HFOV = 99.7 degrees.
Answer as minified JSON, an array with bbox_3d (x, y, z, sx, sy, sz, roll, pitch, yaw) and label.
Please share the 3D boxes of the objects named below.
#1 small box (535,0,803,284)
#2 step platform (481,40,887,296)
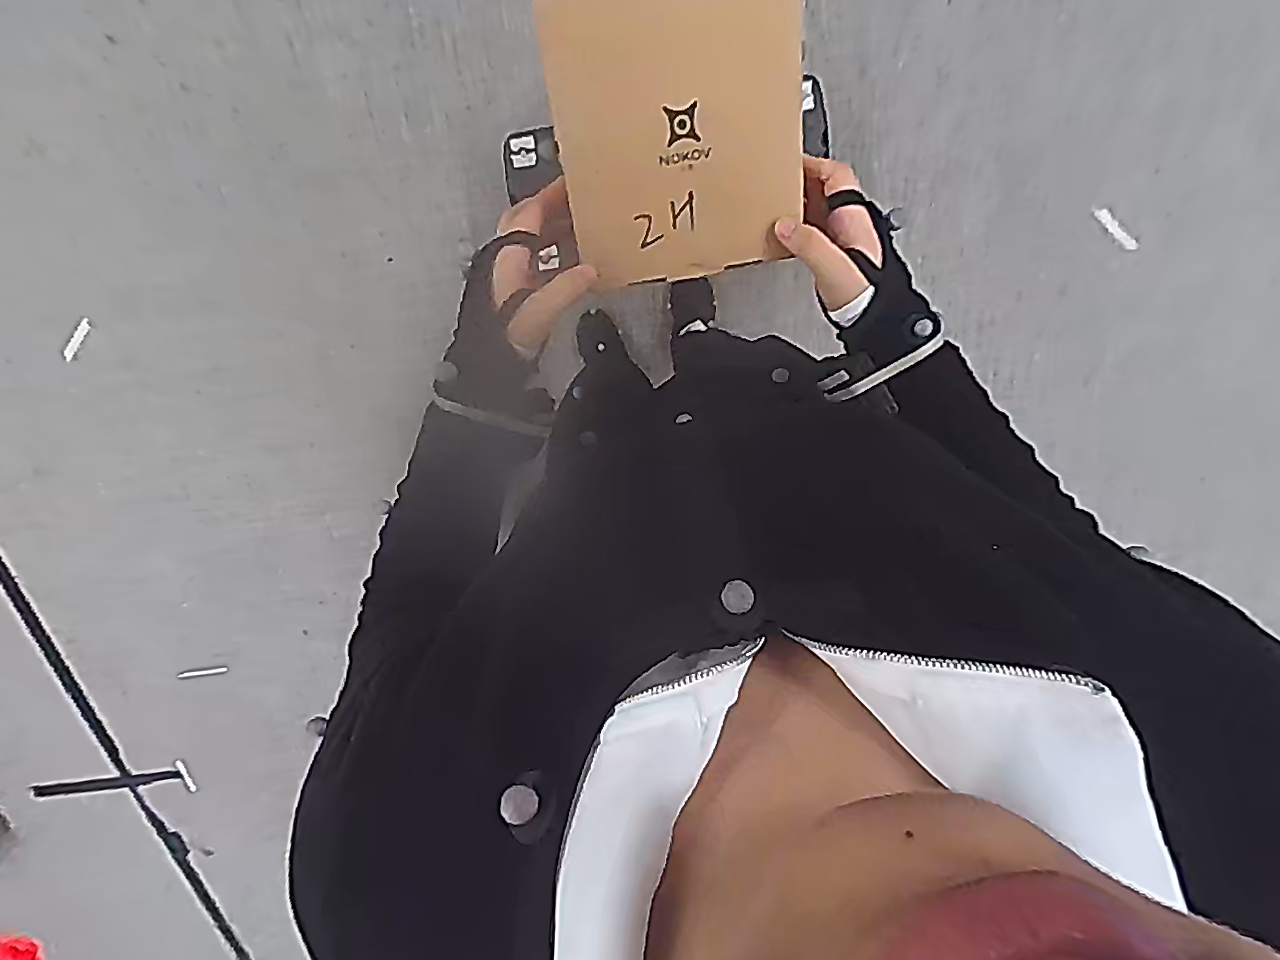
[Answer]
[{"bbox_3d":[0.019,-0.268,0.428,0.168,0.176,0.179,-10,118,0],"label":"small box"},{"bbox_3d":[0.075,-0.547,1.004,0.684,0.204,0.286,-10,108,2],"label":"step platform"}]
